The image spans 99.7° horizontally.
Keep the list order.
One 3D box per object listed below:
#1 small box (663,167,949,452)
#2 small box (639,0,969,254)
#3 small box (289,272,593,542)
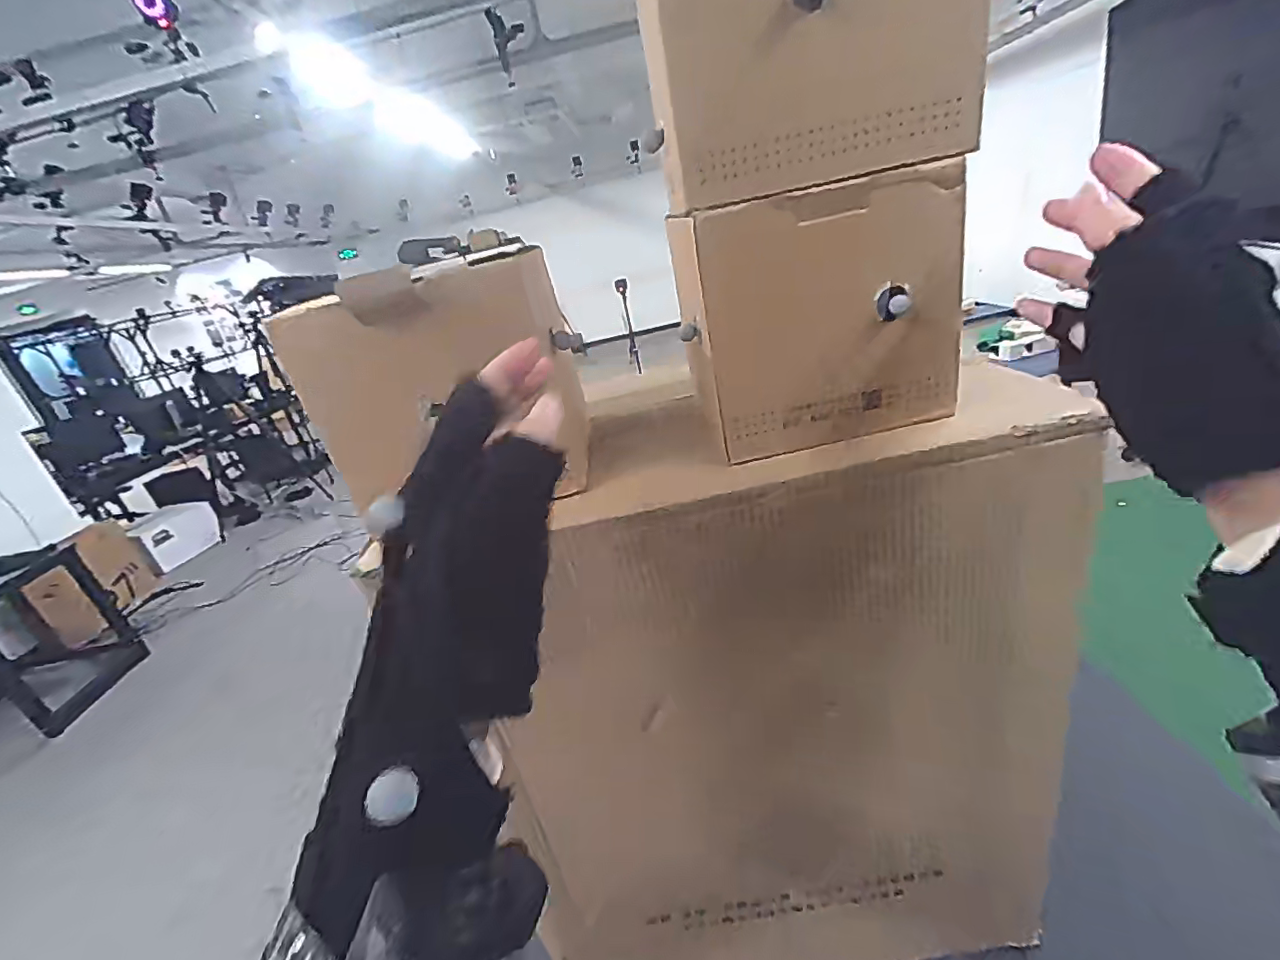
[{"bbox_3d":[0.119,-0.131,0.433,0.168,0.176,0.179,-11,24,2],"label":"small box"},{"bbox_3d":[0.098,-0.263,0.370,0.179,0.176,0.168,-10,25,6],"label":"small box"},{"bbox_3d":[-0.140,-0.063,0.459,0.168,0.176,0.179,-15,25,0],"label":"small box"}]
